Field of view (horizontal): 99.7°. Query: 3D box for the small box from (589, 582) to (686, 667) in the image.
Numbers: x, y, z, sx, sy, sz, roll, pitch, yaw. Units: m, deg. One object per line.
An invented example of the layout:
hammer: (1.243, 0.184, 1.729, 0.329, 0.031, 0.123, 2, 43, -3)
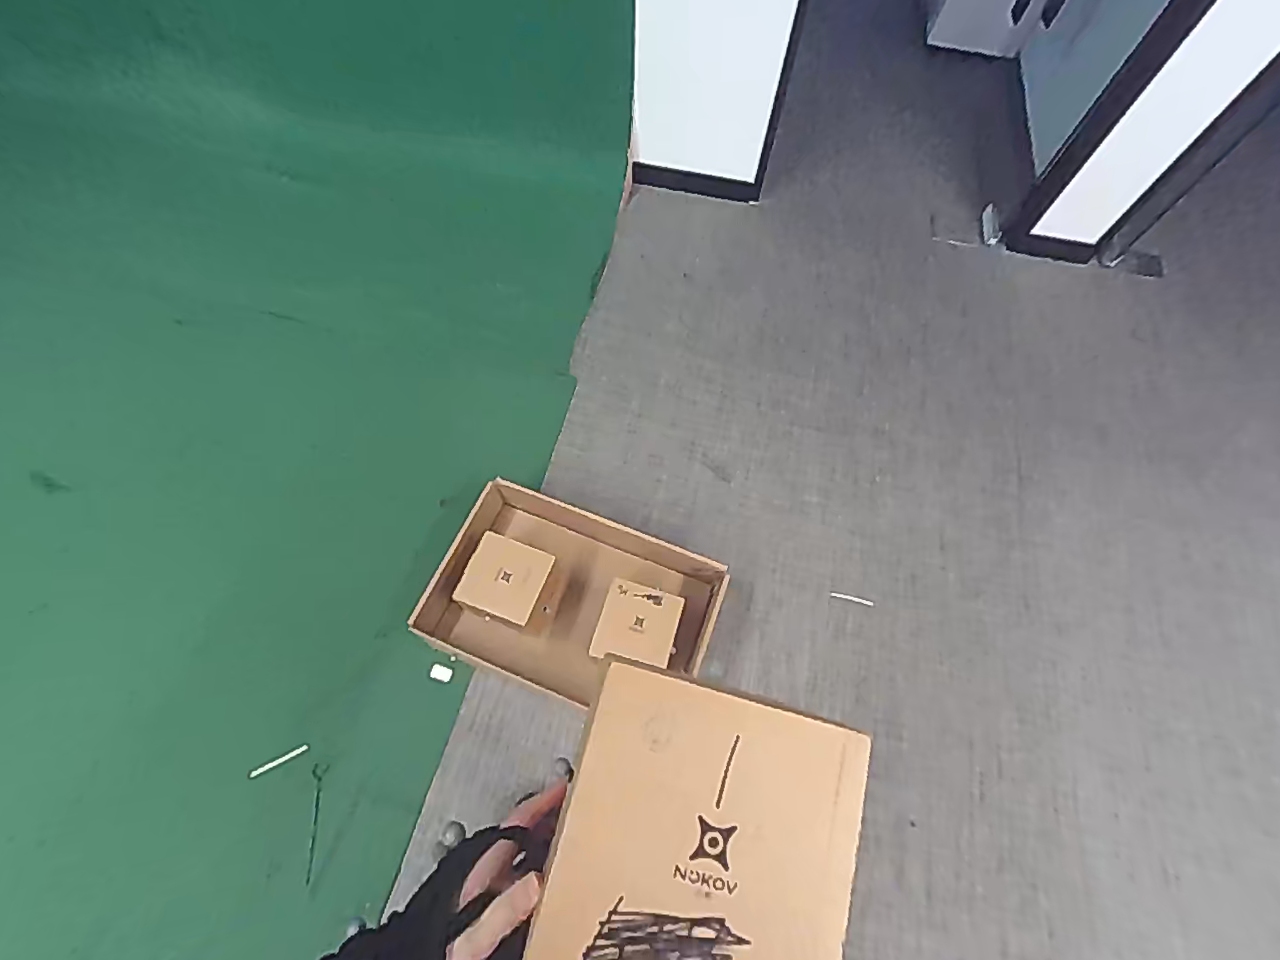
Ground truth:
small box: (-0.002, 0.352, 1.213, 0.168, 0.176, 0.179, 16, 66, 6)

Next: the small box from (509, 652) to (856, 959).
small box: (0.026, 0.231, 0.381, 0.168, 0.176, 0.179, 16, 72, 1)
